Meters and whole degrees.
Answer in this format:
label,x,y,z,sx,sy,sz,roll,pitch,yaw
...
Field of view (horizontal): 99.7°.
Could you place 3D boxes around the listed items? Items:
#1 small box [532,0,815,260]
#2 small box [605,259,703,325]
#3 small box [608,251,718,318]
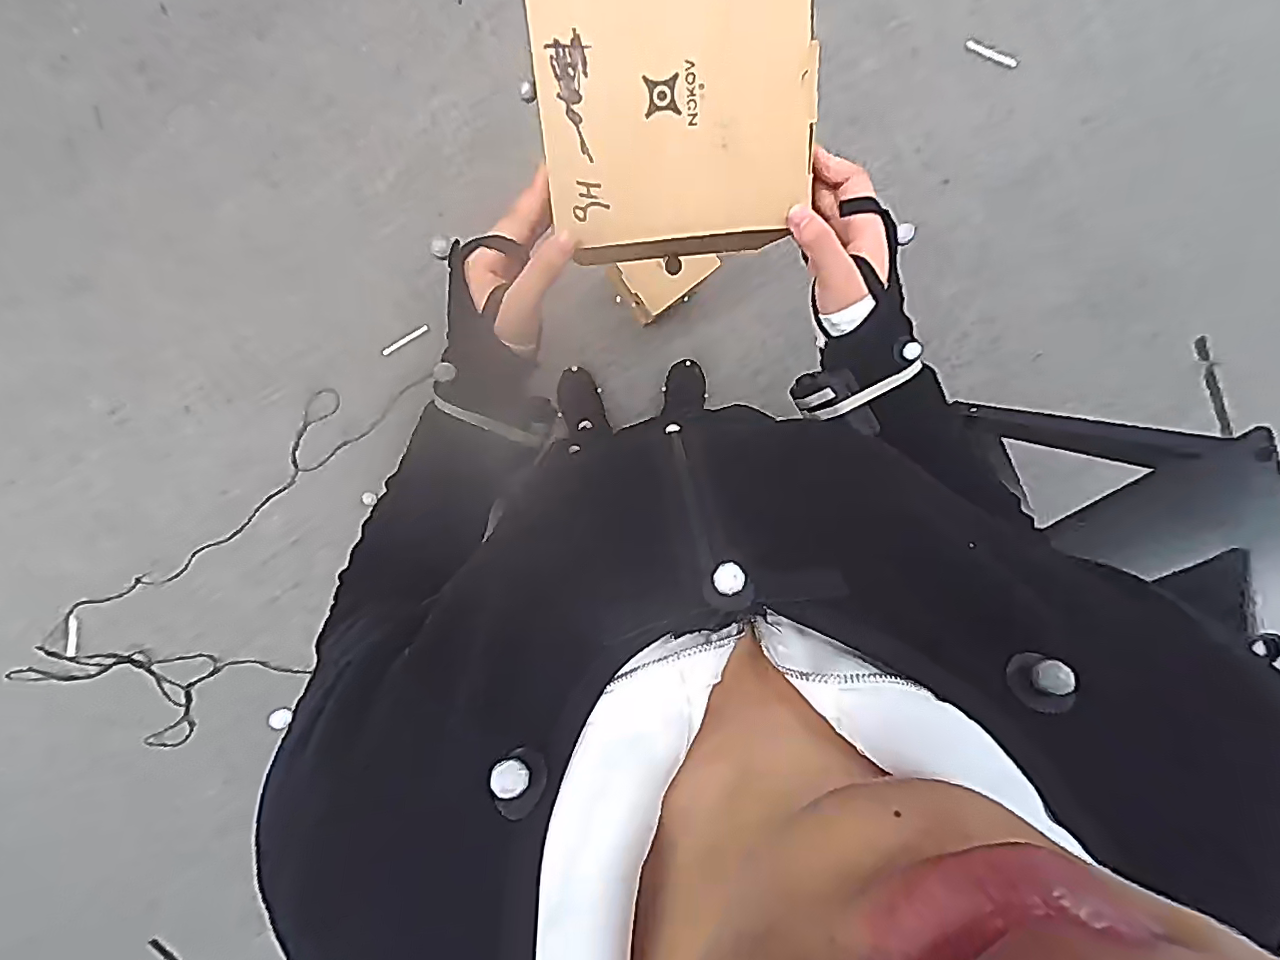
label,x,y,z,sx,sy,sz,roll,pitch,yaw
small box,0.022,-0.271,0.420,0.179,0.176,0.168,-5,107,0
small box,0.030,-0.498,1.320,0.179,0.176,0.168,-34,101,6
small box,0.041,-0.467,1.161,0.179,0.176,0.168,-37,102,5
